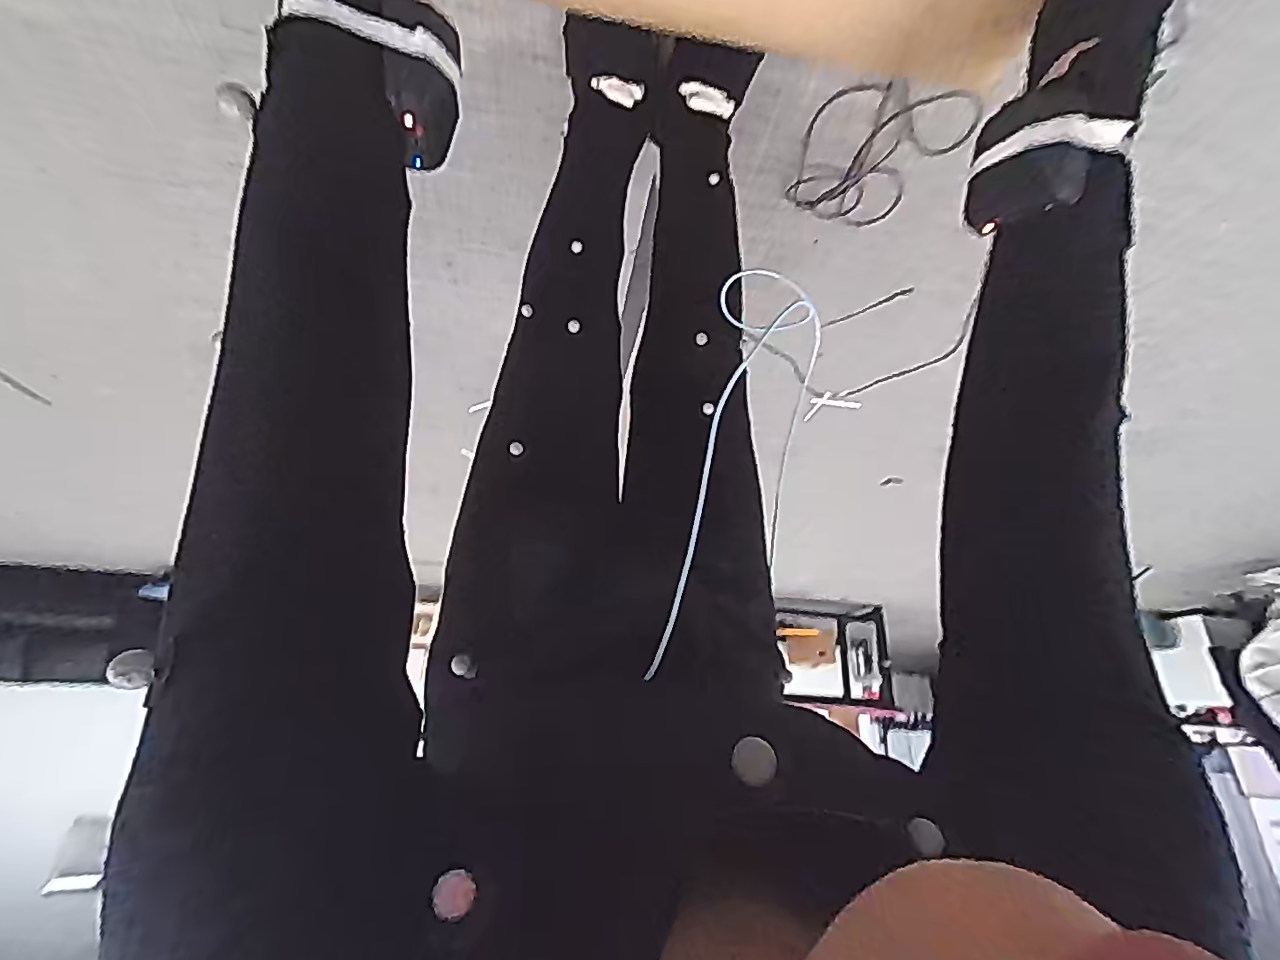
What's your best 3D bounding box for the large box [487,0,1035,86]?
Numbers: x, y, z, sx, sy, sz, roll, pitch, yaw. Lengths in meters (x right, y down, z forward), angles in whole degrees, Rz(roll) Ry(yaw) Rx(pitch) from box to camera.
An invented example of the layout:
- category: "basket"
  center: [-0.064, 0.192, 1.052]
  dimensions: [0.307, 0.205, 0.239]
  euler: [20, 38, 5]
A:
- category: "large box"
  center: [0.089, -0.522, 0.343]
  dimensions: [0.408, 0.320, 0.320]
  euler: [5, 149, -8]
